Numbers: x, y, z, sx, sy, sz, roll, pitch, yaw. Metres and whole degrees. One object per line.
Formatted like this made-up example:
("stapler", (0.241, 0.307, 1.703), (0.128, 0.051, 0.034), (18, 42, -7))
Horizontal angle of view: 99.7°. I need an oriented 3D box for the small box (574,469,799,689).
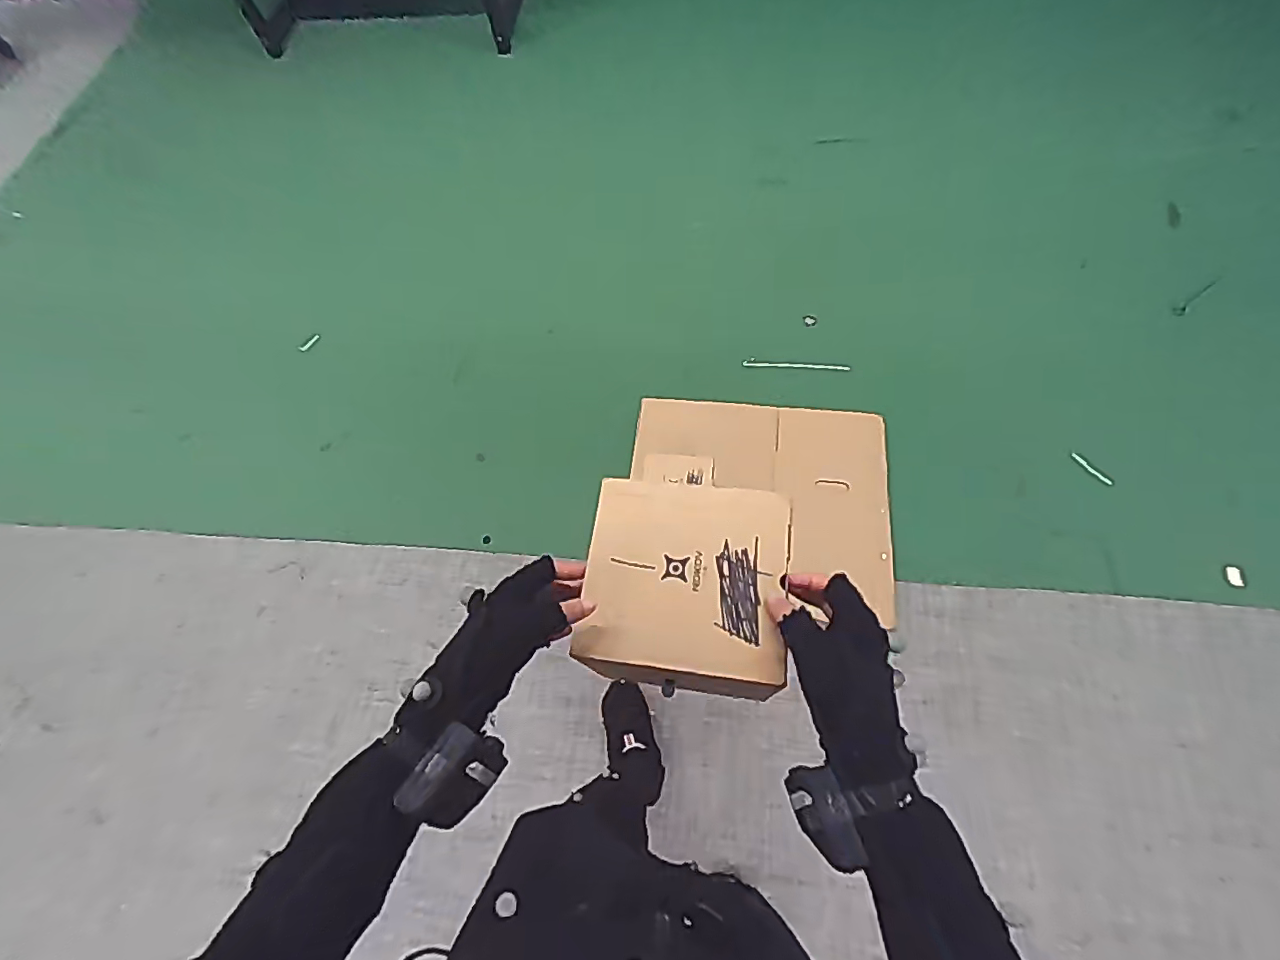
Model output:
("small box", (0.052, 0.105, 0.533), (0.179, 0.176, 0.168), (5, 65, 11))
